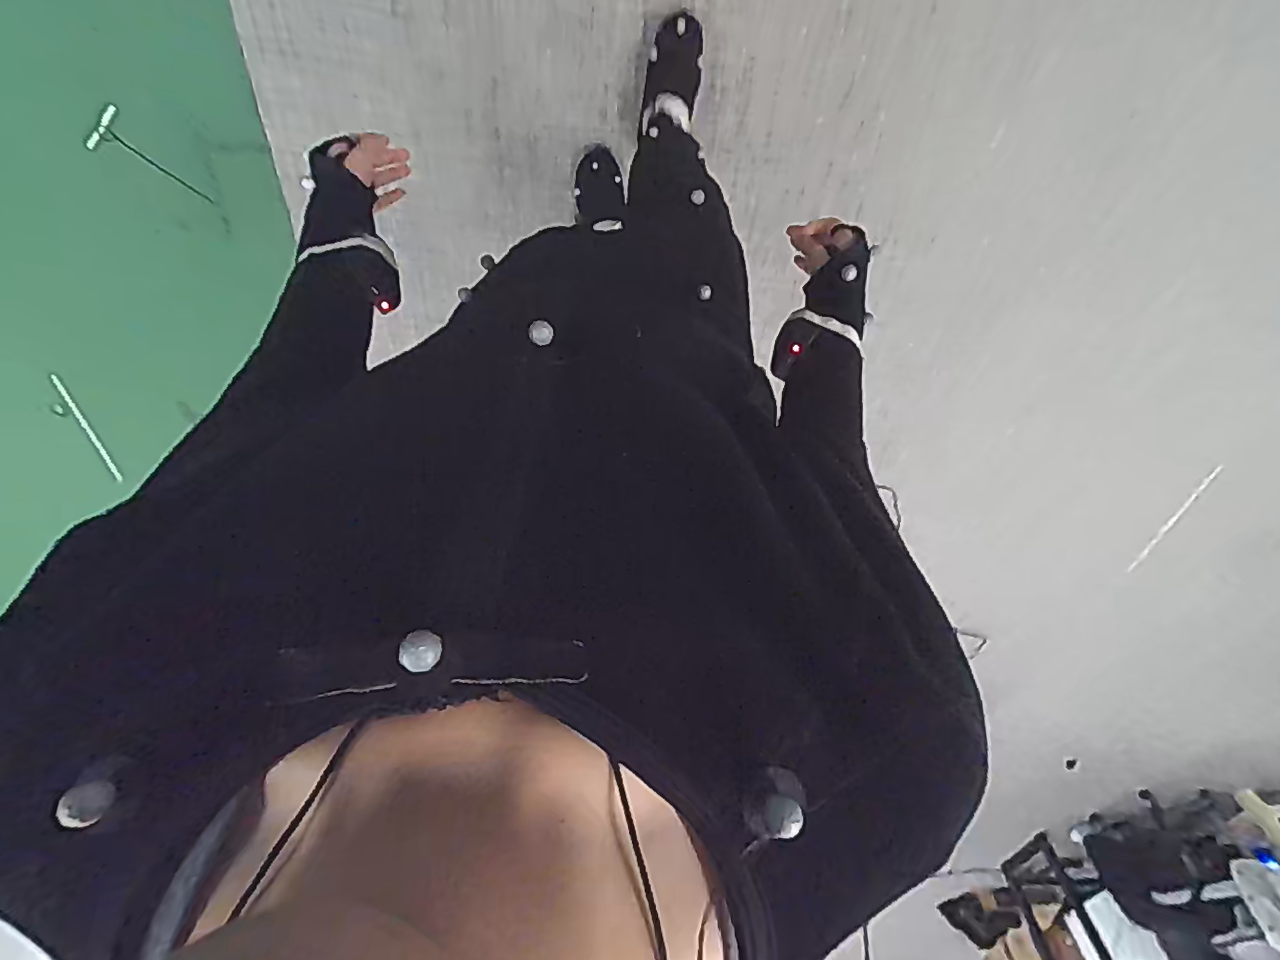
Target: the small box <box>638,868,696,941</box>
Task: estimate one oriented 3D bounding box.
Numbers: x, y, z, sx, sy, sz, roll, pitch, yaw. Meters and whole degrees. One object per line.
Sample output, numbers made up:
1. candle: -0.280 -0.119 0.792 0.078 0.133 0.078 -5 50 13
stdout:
1. small box: 0.090 1.474 1.881 0.179 0.176 0.168 4 128 -4
